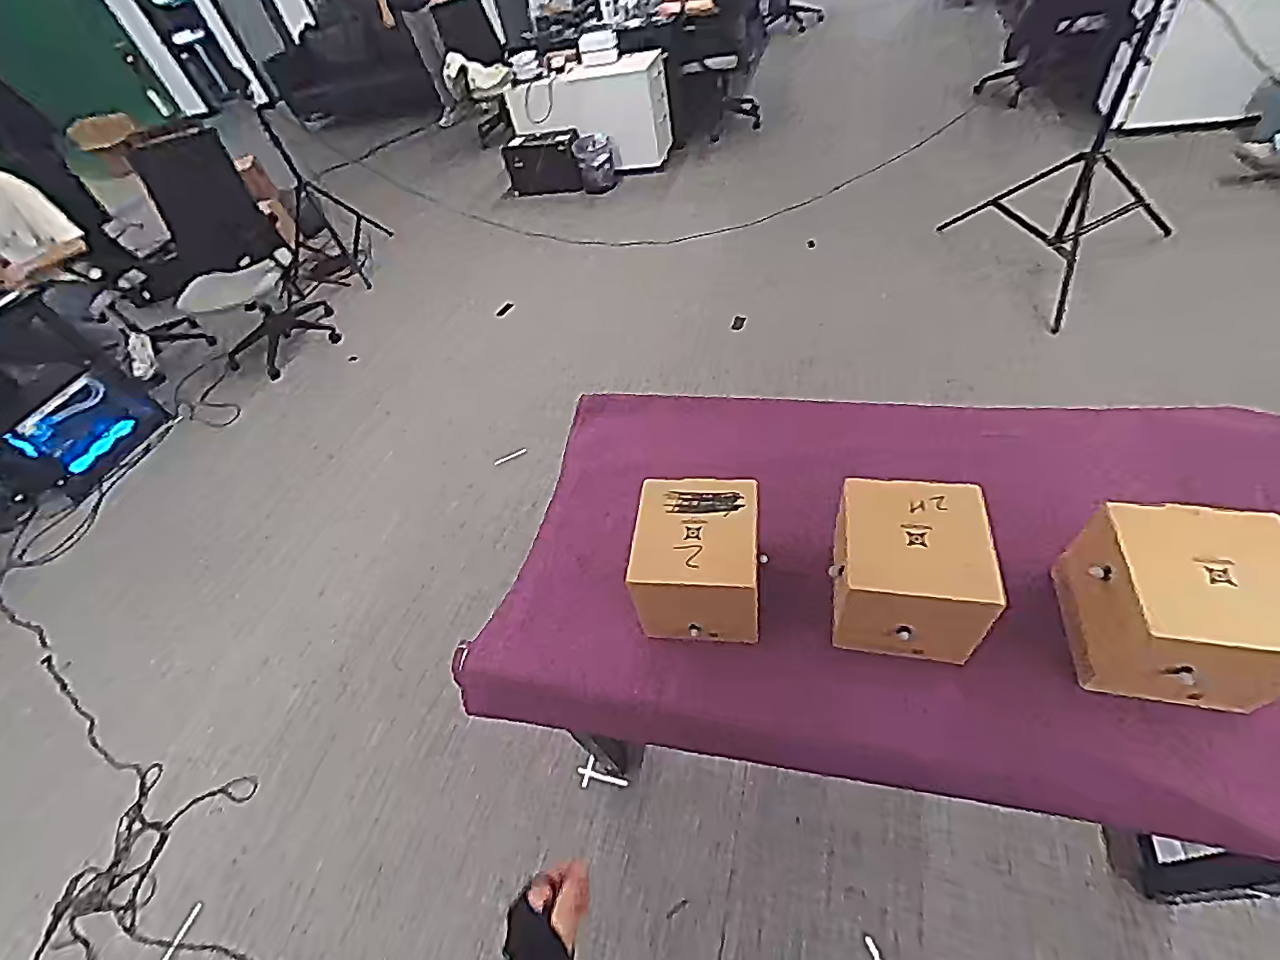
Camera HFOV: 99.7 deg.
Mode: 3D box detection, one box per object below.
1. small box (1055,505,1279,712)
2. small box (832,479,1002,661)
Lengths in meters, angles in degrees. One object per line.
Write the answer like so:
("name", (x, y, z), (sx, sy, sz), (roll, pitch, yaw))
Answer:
("small box", (0.632, 0.153, 0.641), (0.168, 0.176, 0.179), (4, 51, 17))
("small box", (0.356, 0.122, 0.729), (0.168, 0.176, 0.179), (4, 50, 15))
